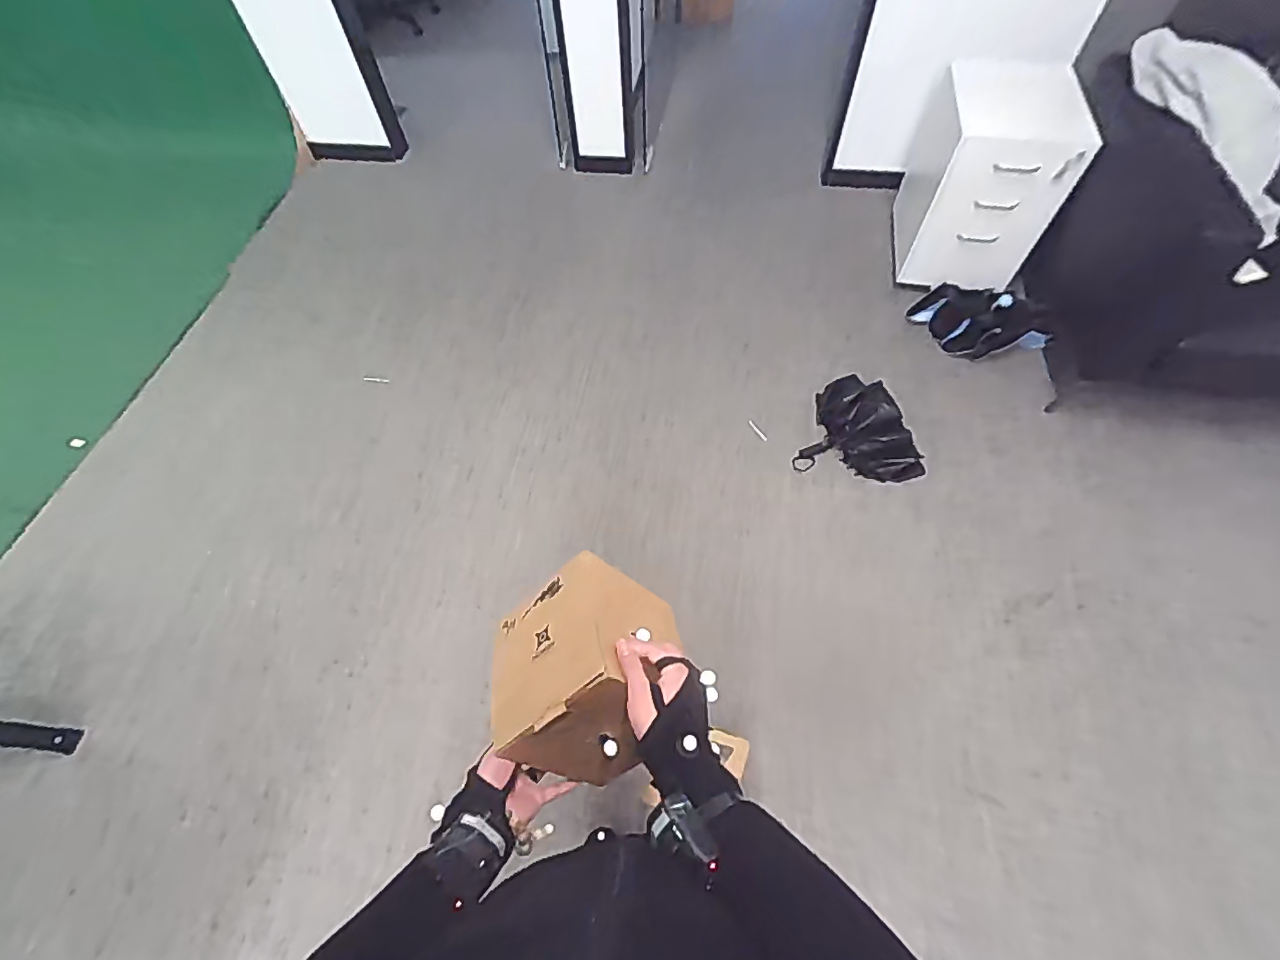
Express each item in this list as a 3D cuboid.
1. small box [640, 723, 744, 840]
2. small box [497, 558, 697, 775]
[{"bbox_3d":[0.106,0.617,1.130,0.168,0.176,0.179,18,61,13],"label":"small box"},{"bbox_3d":[-0.054,0.234,0.658,0.168,0.176,0.179,-38,37,16],"label":"small box"}]
